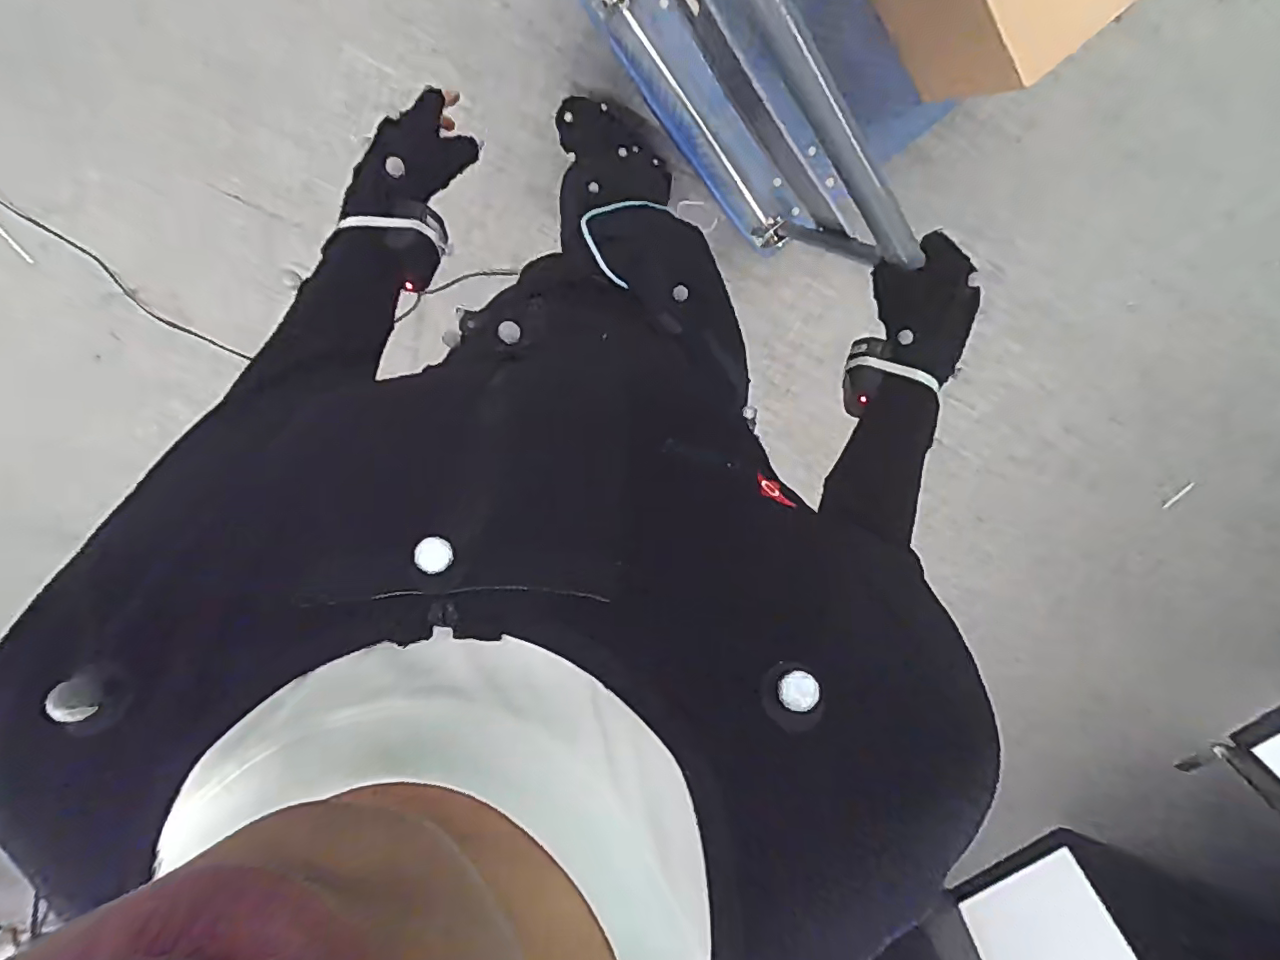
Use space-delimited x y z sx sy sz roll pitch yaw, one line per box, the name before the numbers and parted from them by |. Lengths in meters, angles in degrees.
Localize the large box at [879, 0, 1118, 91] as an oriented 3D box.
large box | 0.506 -0.838 0.739 0.320 0.320 0.408 -38 115 21
